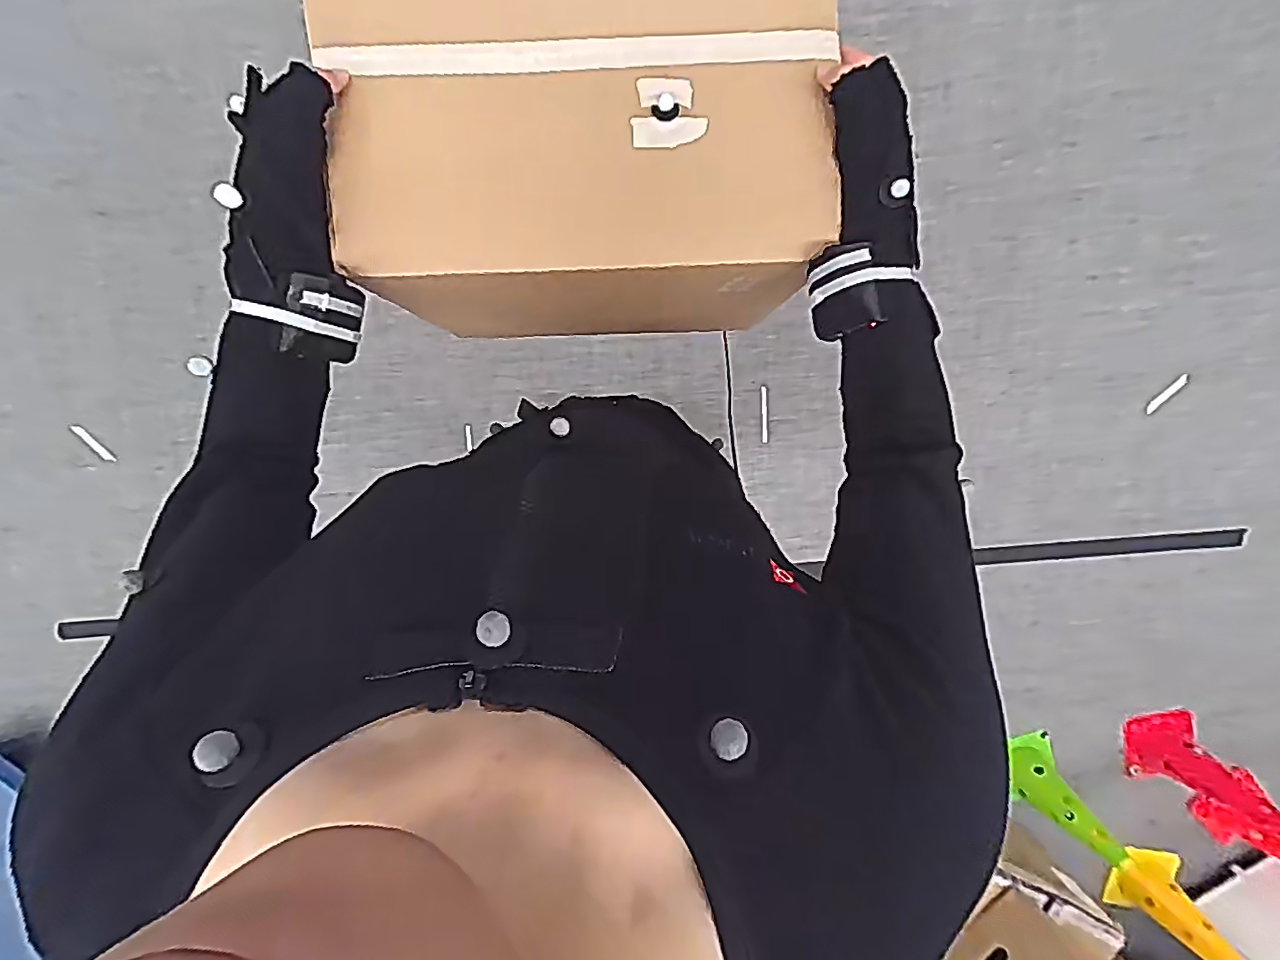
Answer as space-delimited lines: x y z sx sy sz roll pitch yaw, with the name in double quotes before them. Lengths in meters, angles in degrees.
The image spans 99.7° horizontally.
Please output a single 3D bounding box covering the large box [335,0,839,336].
"large box" -0.045 -0.346 0.579 0.408 0.320 0.320 -2 96 -1
